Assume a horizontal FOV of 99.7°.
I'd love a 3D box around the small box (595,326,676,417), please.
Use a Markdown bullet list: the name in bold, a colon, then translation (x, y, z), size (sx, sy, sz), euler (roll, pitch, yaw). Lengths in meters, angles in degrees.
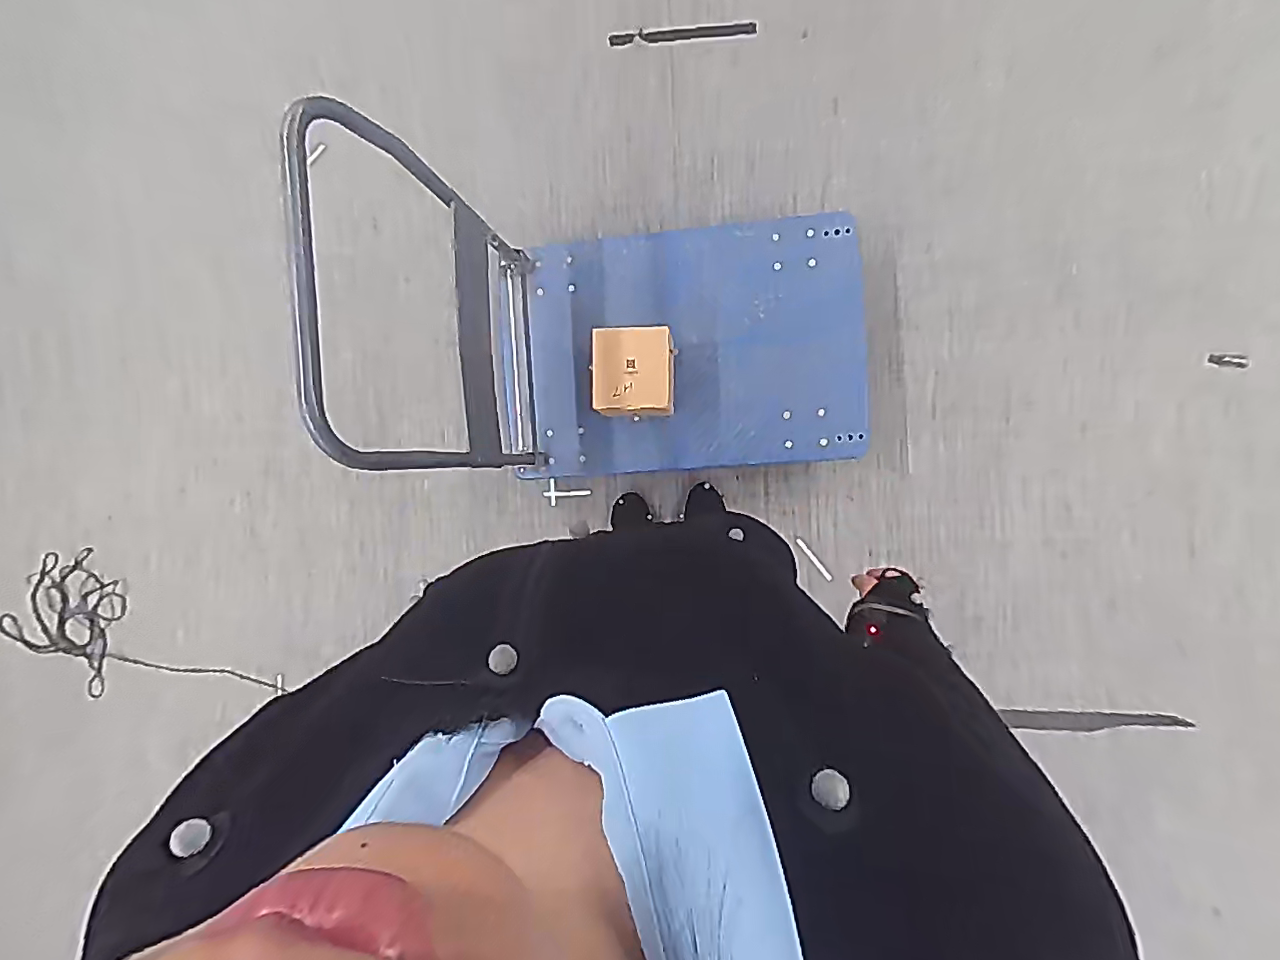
- **small box**: translation (-0.007, -0.240, 1.228), size (0.168, 0.176, 0.179), euler (0, 91, 7)
